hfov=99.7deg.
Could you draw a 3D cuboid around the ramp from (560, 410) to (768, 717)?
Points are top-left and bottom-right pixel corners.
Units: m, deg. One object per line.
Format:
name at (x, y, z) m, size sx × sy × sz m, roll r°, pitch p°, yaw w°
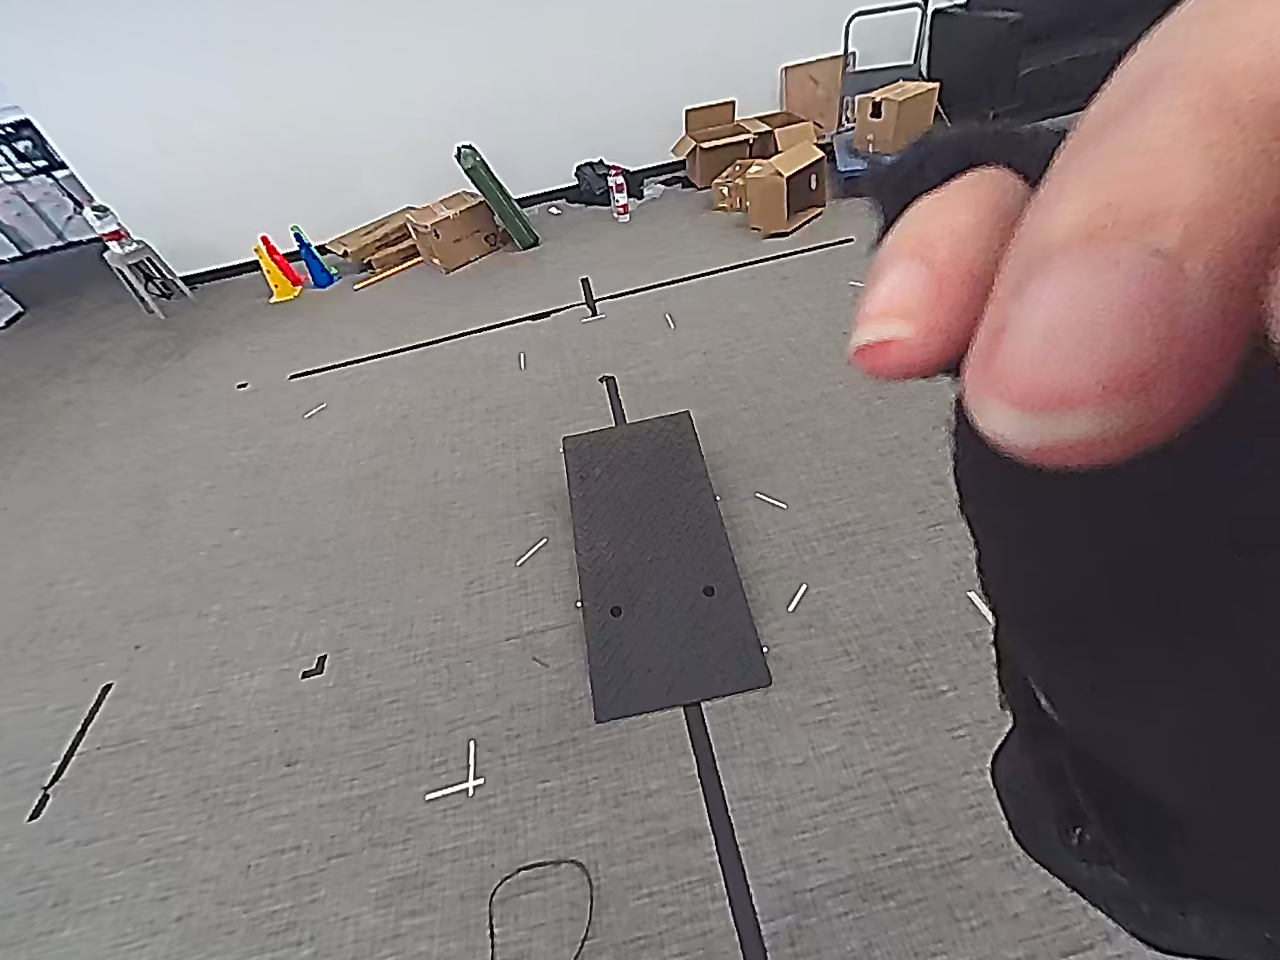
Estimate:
ramp at (0.028, 0.192, 1.743) m, size 0.509 × 0.206 × 0.991 m, roll -13°, pitch 46°, yaw -2°
